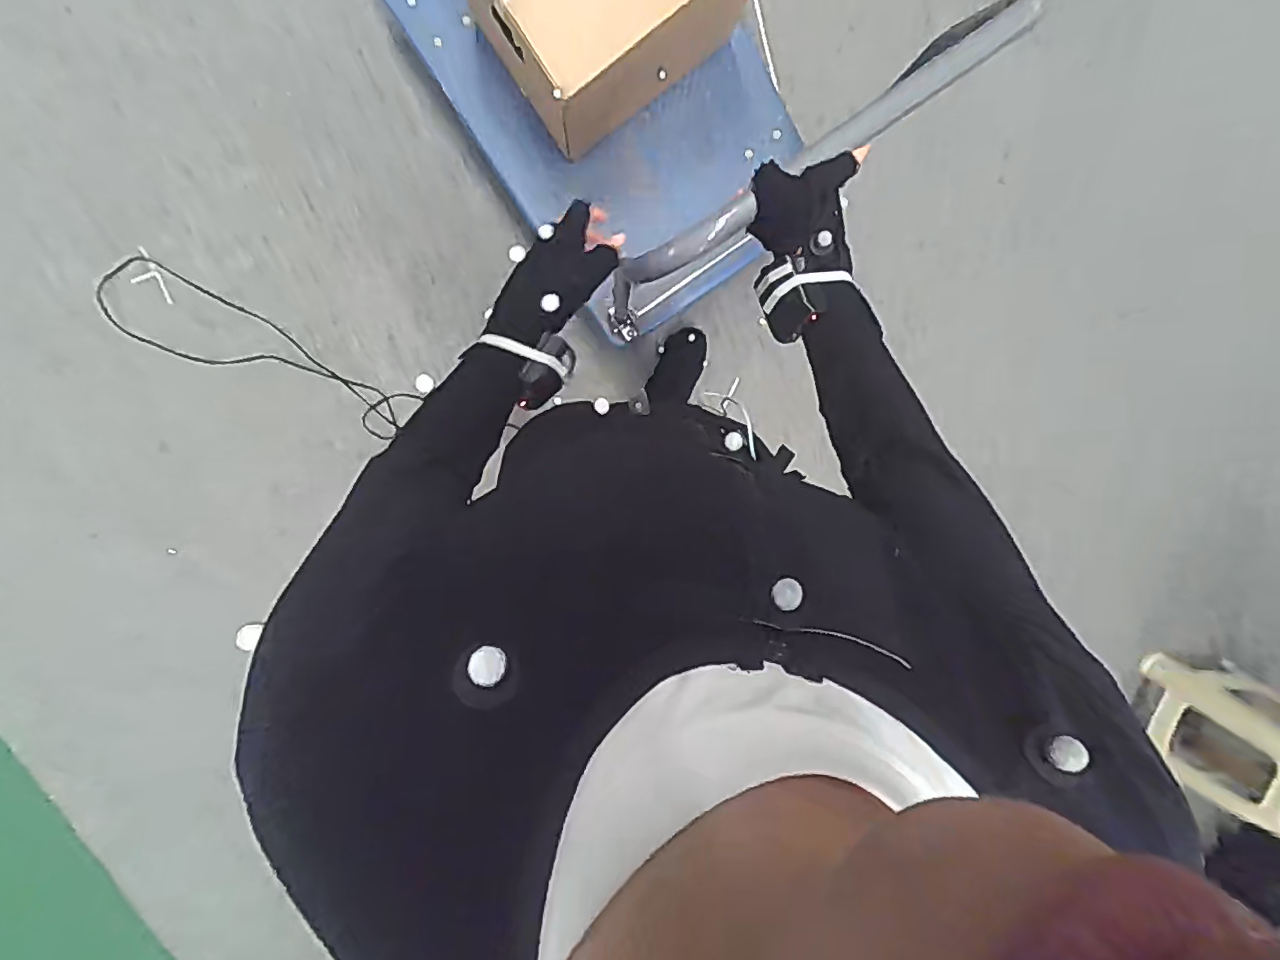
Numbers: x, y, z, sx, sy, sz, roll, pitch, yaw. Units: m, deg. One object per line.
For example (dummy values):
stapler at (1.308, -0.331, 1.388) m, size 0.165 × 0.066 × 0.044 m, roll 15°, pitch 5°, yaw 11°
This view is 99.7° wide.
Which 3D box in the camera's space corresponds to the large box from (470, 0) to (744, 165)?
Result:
large box at (-0.055, -0.849, 0.936) m, size 0.408 × 0.320 × 0.320 m, roll -36°, pitch 103°, yaw 5°
